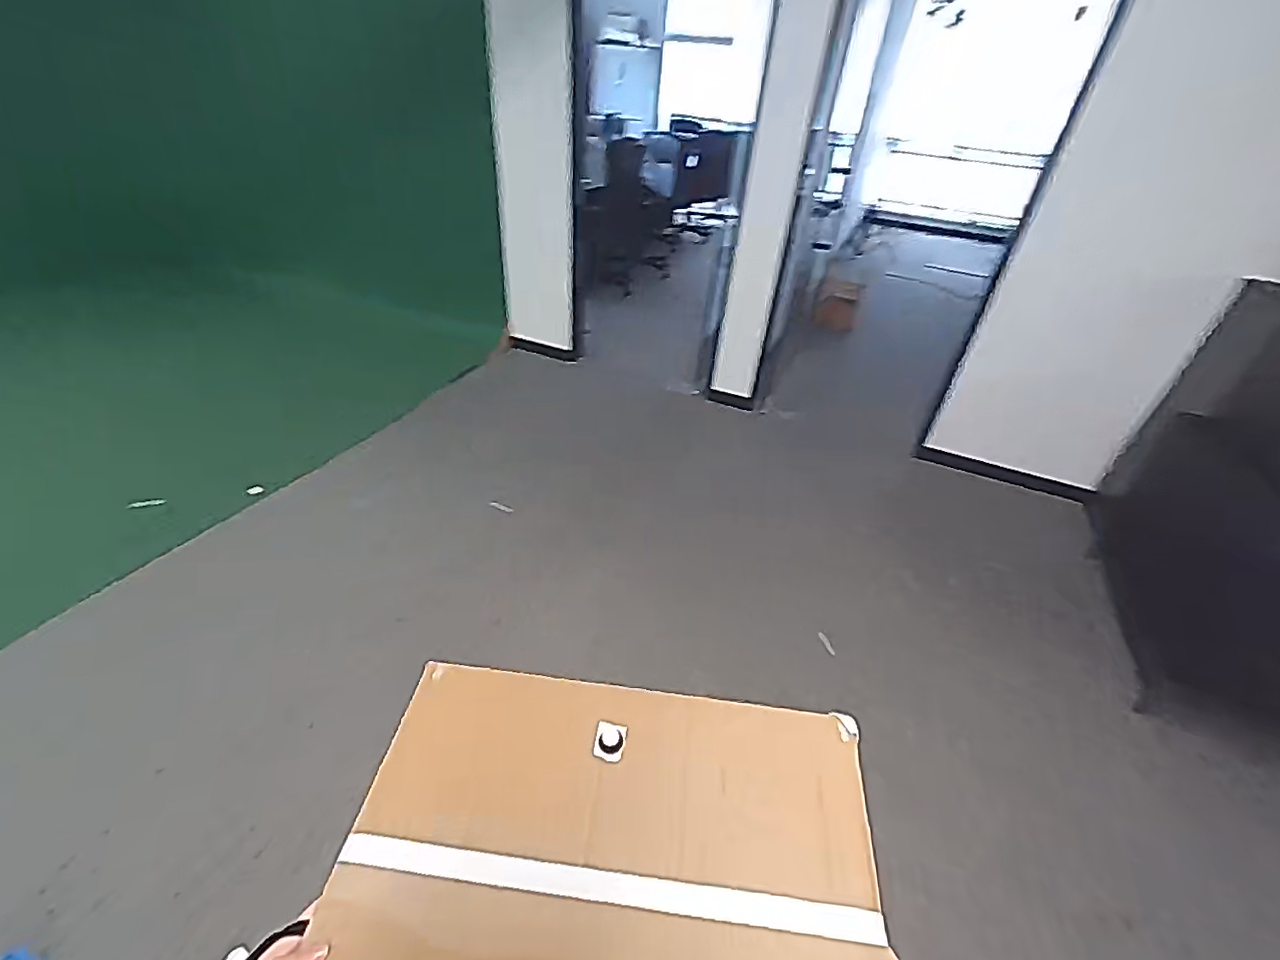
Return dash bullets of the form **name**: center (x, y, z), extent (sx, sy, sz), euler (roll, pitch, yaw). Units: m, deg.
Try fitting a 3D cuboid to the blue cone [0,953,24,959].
- **blue cone**: center (-1.219, 0.889, 0.908), extent (0.192, 0.380, 0.193), euler (17, 37, 15)
